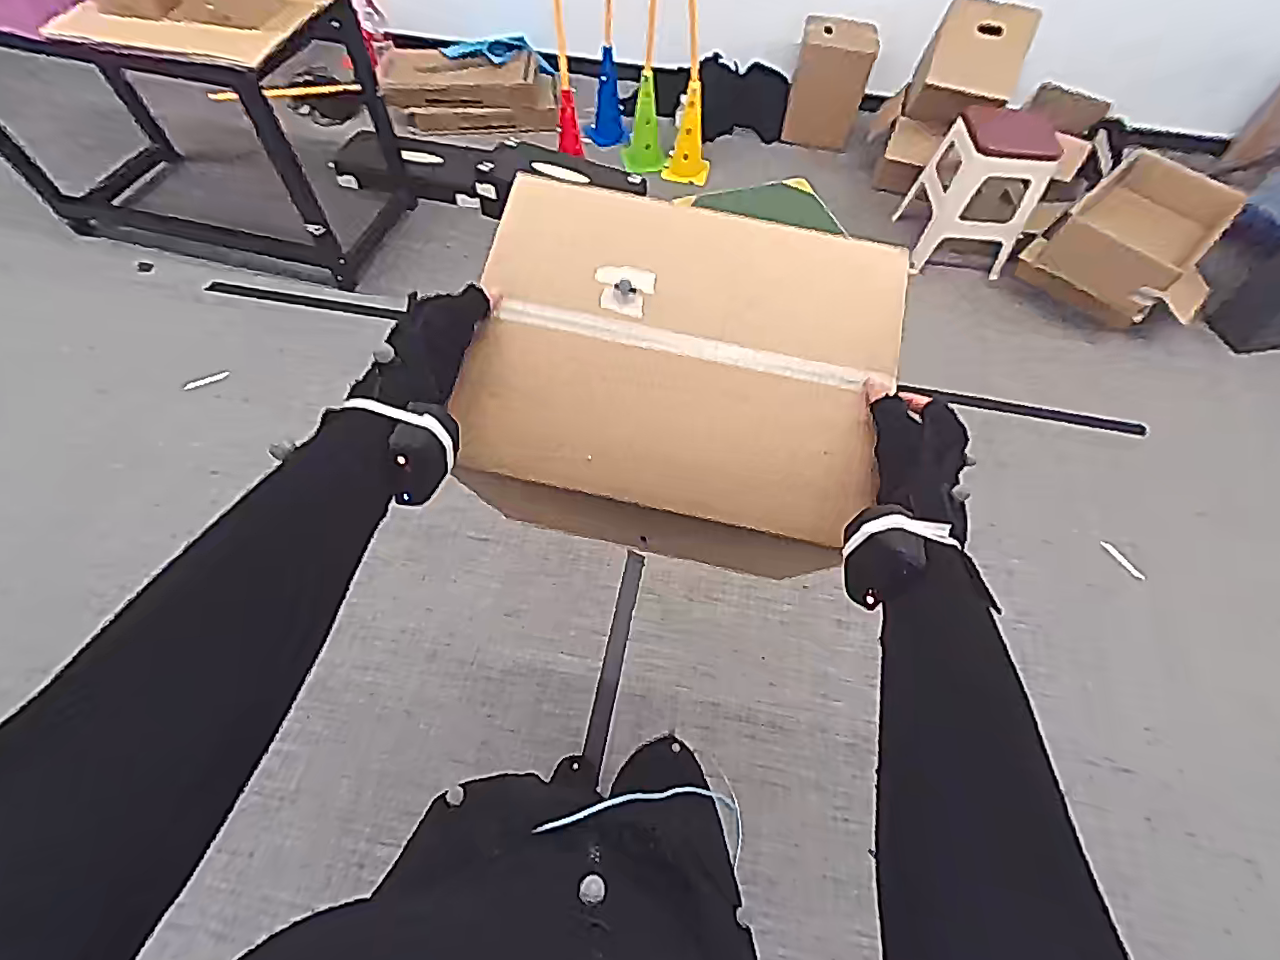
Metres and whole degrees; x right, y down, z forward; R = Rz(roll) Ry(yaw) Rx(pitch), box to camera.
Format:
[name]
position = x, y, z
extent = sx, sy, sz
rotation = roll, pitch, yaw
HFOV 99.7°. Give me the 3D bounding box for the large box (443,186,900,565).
[large box]
position = 0.043, -0.092, 0.670
extent = 0.408, 0.320, 0.320
rotation = 13, 76, 3
